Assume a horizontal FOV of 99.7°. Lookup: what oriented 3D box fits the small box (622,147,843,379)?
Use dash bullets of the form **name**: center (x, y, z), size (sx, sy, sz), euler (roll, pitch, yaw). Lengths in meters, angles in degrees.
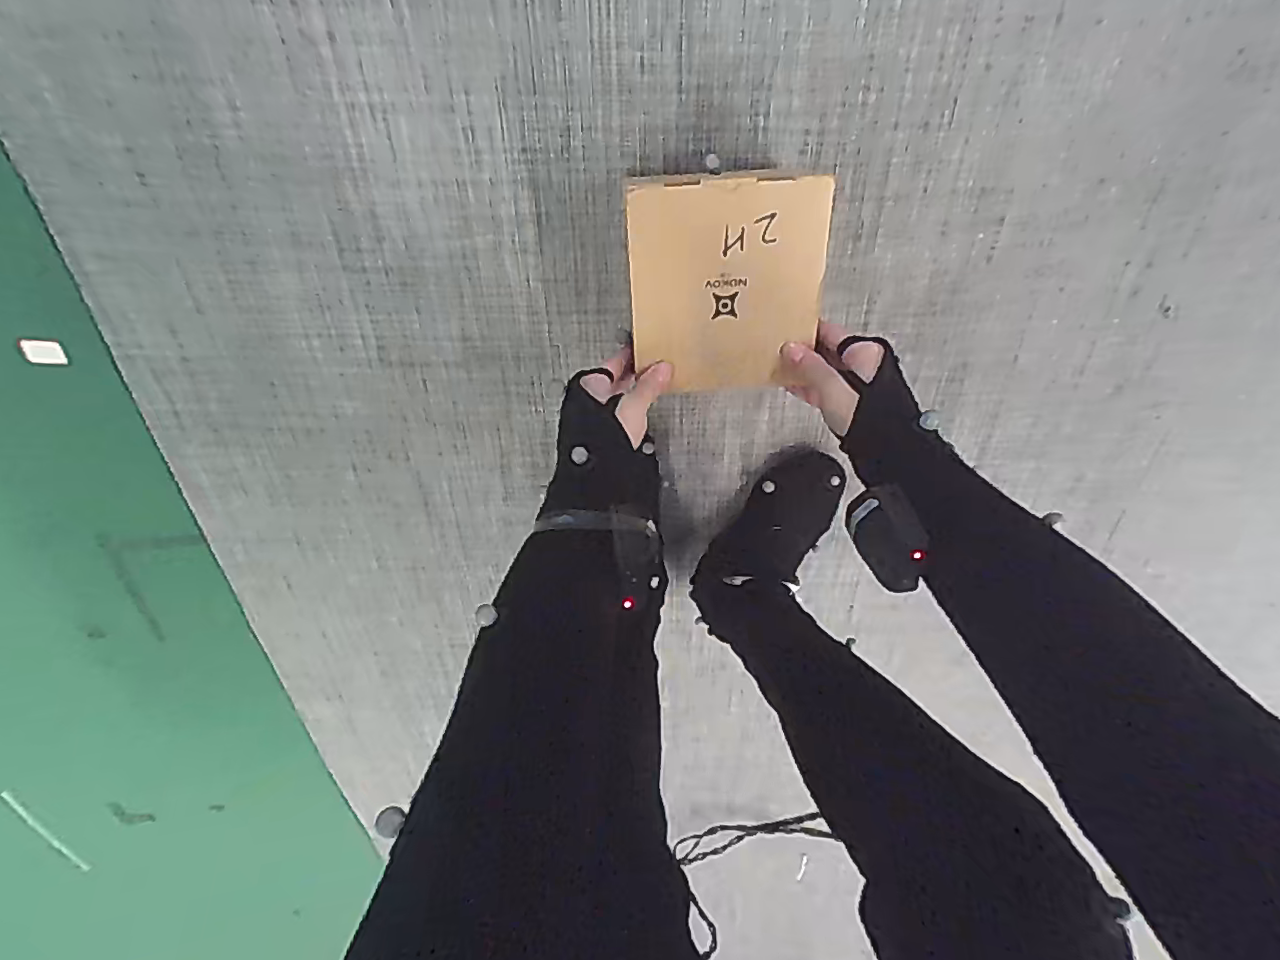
- **small box**: center (0.070, -0.208, 0.509), size (0.168, 0.176, 0.179), euler (-1, 122, 0)
